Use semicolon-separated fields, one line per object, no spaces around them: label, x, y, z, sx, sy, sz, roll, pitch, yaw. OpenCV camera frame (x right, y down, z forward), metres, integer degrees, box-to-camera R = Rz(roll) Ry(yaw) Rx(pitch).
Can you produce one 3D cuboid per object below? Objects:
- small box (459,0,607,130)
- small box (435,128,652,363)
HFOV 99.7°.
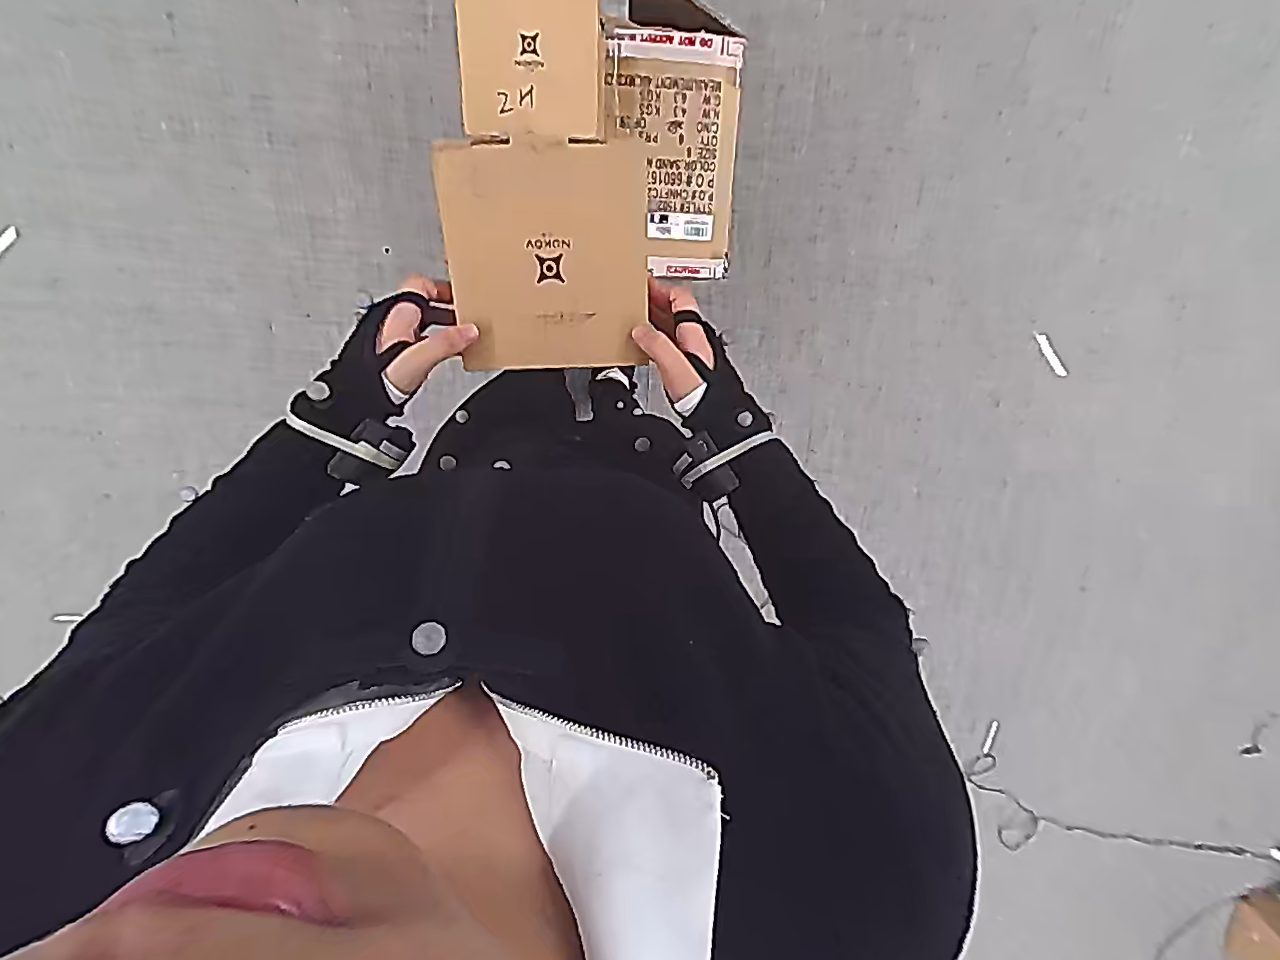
small box;-0.131;-0.533;0.713;0.168;0.176;0.179;2;112;-2
small box;-0.078;-0.217;0.512;0.168;0.176;0.179;-2;116;-3
